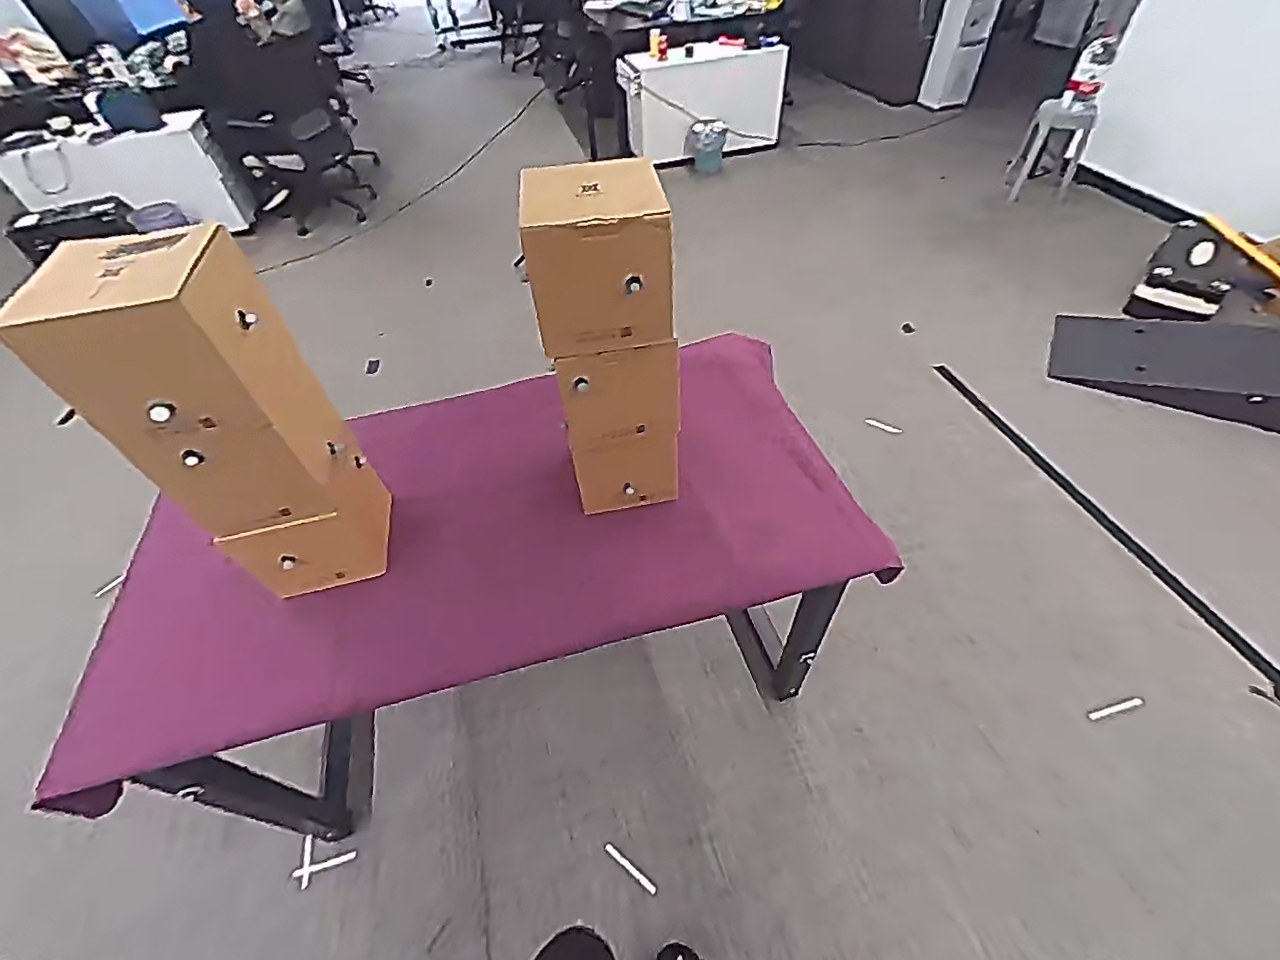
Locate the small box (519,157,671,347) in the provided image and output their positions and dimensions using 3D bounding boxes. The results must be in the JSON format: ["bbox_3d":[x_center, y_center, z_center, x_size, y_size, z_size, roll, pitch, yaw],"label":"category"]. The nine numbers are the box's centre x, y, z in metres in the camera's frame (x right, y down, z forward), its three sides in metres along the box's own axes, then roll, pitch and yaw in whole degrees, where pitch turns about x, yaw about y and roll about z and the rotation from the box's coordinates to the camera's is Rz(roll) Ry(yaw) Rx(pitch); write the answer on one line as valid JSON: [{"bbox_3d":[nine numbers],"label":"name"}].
[{"bbox_3d":[-0.054,-0.283,0.687,0.168,0.176,0.179,-8,48,-4],"label":"small box"}]

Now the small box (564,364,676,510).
[{"bbox_3d":[-0.034,-0.074,0.938,0.168,0.176,0.179,-10,49,-4],"label":"small box"}]

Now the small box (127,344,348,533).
[{"bbox_3d":[-0.525,-0.057,0.742,0.168,0.176,0.179,-14,49,-7],"label":"small box"}]

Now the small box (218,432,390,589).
[{"bbox_3d":[-0.515,0.055,0.861,0.168,0.176,0.179,-13,49,-7],"label":"small box"}]

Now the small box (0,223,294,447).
[{"bbox_3d":[-0.529,-0.165,0.617,0.168,0.176,0.179,-13,50,-7],"label":"small box"}]
